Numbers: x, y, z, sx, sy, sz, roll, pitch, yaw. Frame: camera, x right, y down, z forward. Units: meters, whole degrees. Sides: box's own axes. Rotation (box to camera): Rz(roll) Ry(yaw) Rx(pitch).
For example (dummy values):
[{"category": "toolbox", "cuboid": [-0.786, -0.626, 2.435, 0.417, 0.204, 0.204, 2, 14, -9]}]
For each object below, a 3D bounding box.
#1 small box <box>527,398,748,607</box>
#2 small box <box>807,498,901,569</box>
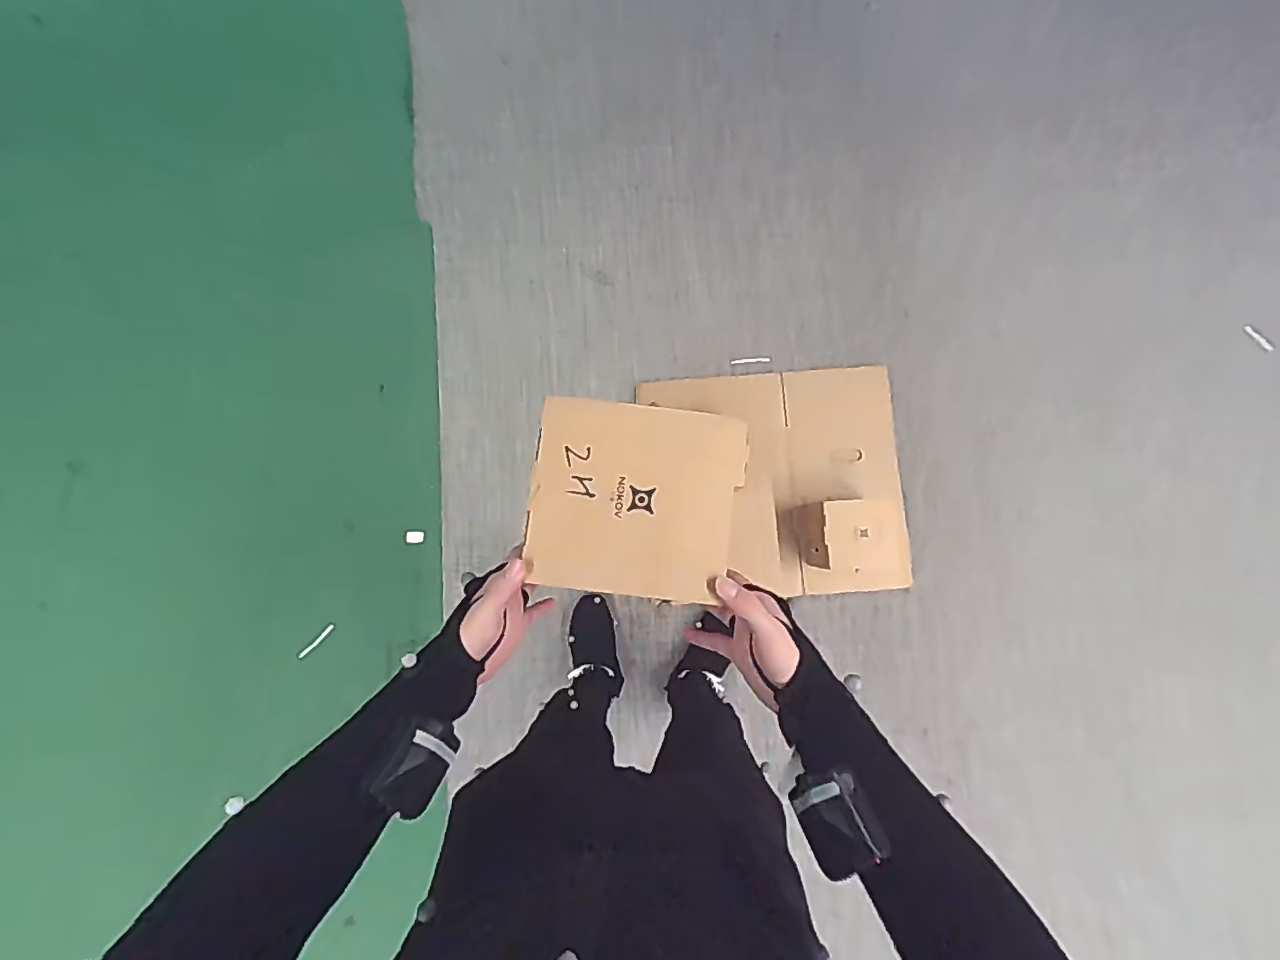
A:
[{"category": "small box", "cuboid": [-0.001, 0.029, 0.542, 0.179, 0.176, 0.168, 6, 81, 1]}, {"category": "small box", "cuboid": [0.529, 0.136, 1.362, 0.179, 0.176, 0.168, -3, 84, 1]}]
